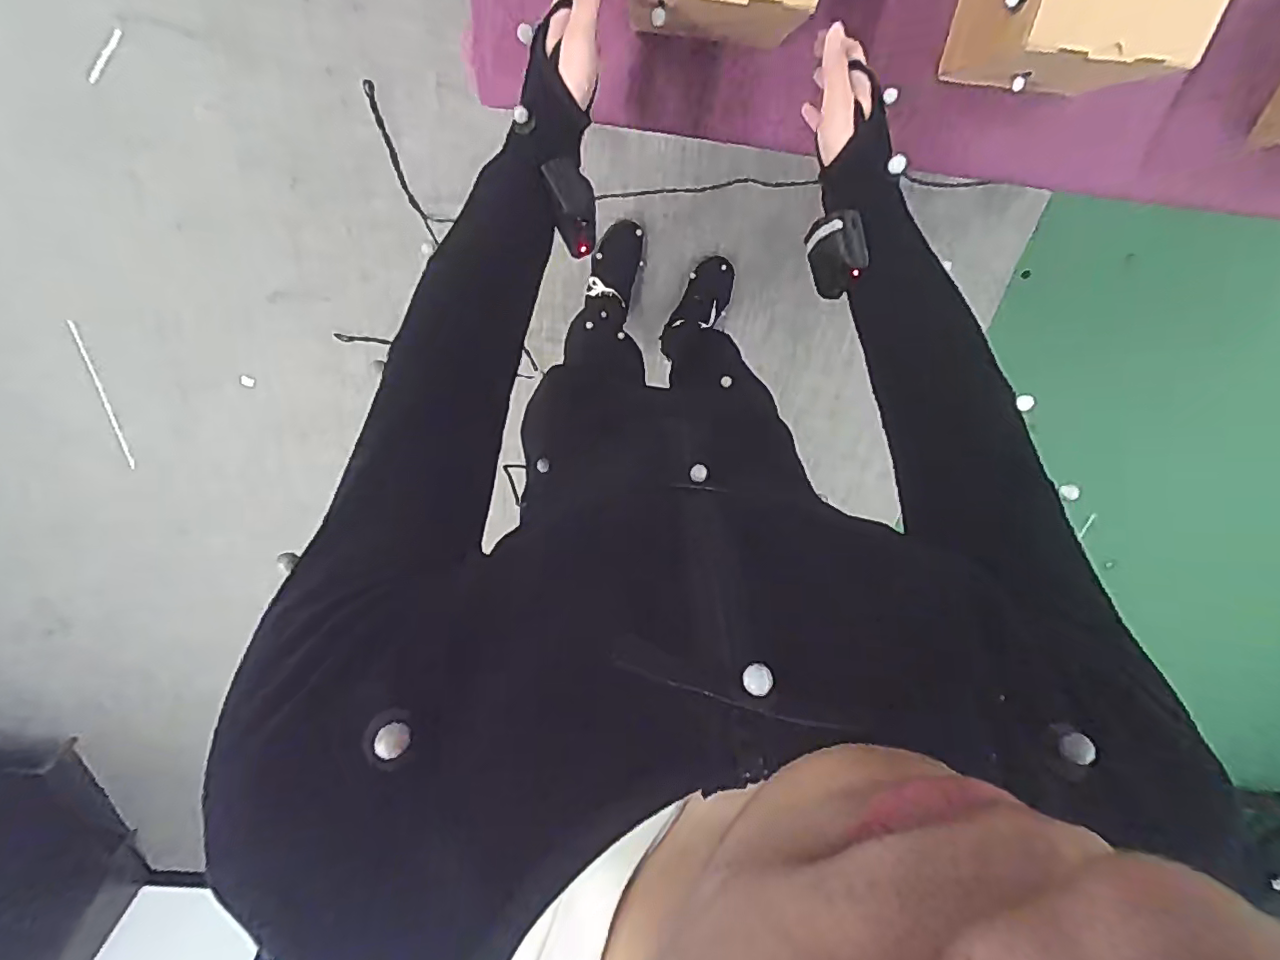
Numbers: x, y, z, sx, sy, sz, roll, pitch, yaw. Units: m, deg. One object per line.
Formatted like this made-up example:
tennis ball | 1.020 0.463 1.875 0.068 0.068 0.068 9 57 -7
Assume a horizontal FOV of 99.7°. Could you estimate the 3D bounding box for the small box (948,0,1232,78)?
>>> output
small box | 0.424 -0.497 0.499 0.168 0.176 0.179 4 121 -2
